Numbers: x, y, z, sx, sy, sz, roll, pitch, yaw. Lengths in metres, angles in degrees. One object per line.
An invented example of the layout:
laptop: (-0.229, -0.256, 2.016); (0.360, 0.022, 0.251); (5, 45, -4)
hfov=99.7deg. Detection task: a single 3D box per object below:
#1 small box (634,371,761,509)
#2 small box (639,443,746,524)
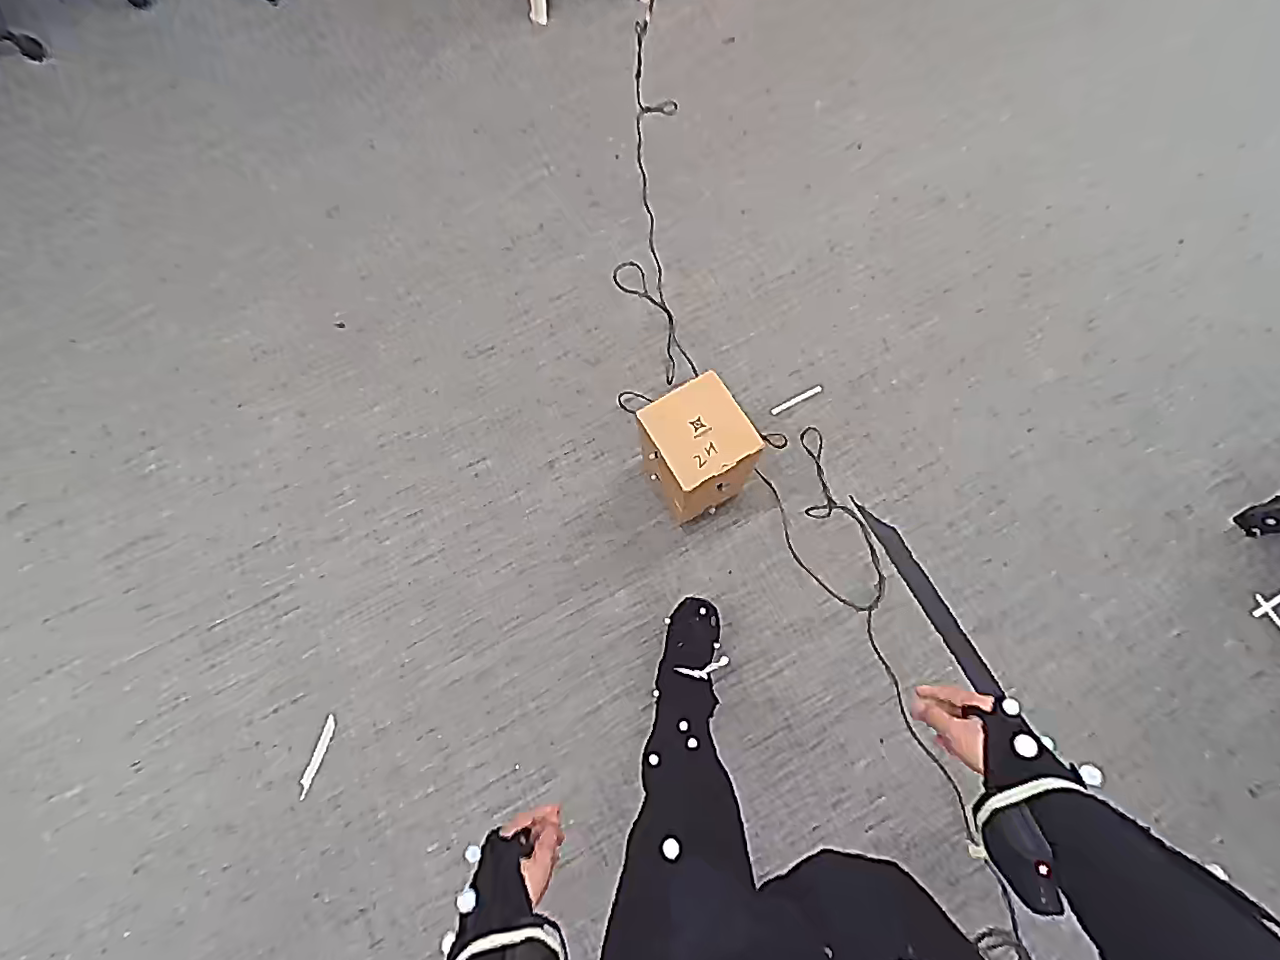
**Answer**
small box: (0.102, -0.067, 1.027); (0.168, 0.176, 0.179); (-30, 76, -5)
small box: (0.109, -0.024, 1.186); (0.168, 0.176, 0.179); (-28, 76, -5)
